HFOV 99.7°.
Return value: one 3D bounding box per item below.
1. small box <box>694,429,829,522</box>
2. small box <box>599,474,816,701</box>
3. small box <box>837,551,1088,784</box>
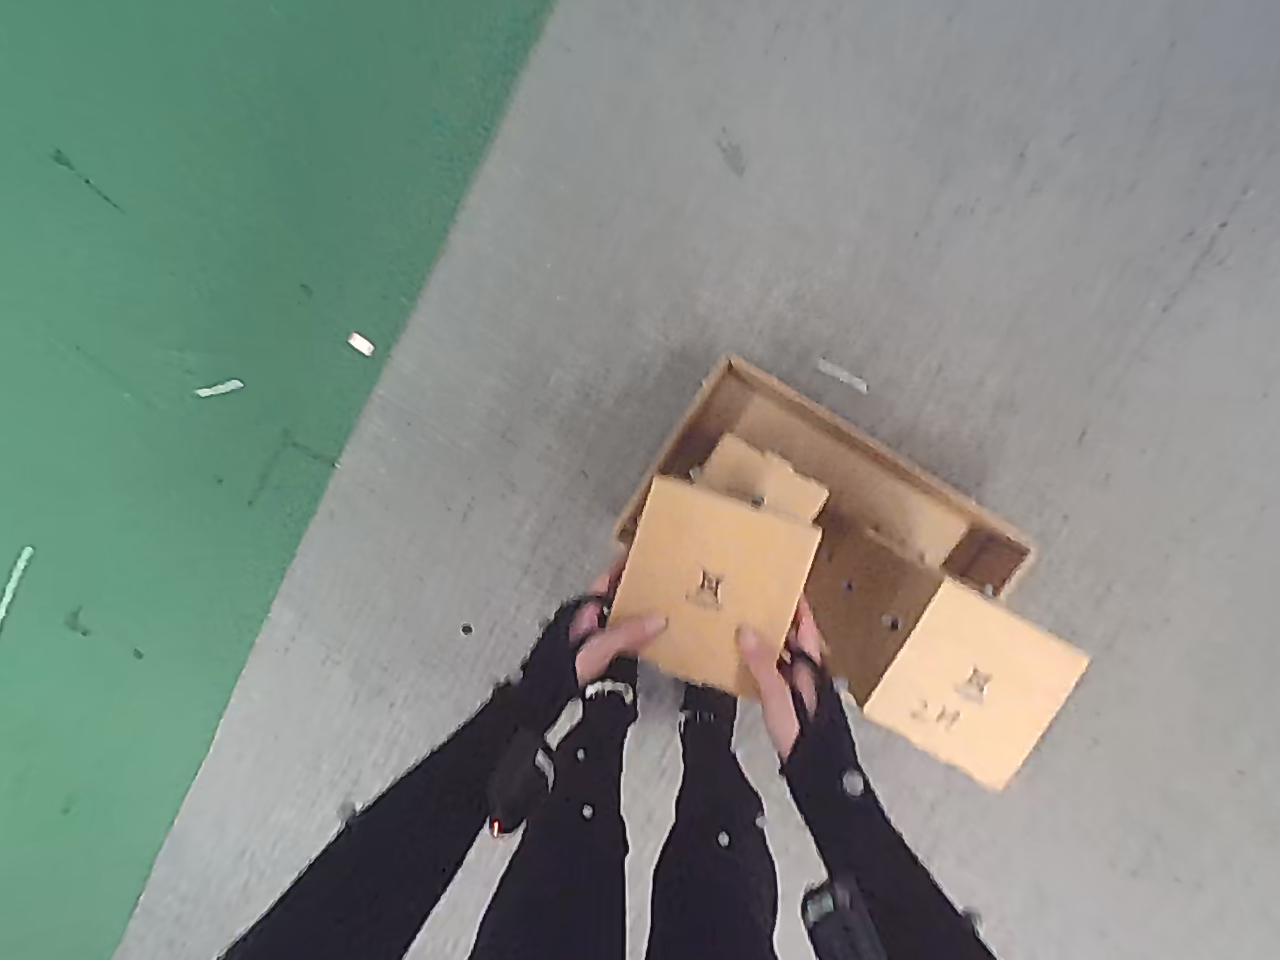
[{"bbox_3d":[0.158,0.040,0.833,0.168,0.176,0.179,31,95,6],"label":"small box"},{"bbox_3d":[0.069,0.098,0.585,0.168,0.176,0.179,17,94,7],"label":"small box"},{"bbox_3d":[0.361,0.205,0.649,0.168,0.176,0.179,30,96,6],"label":"small box"}]
